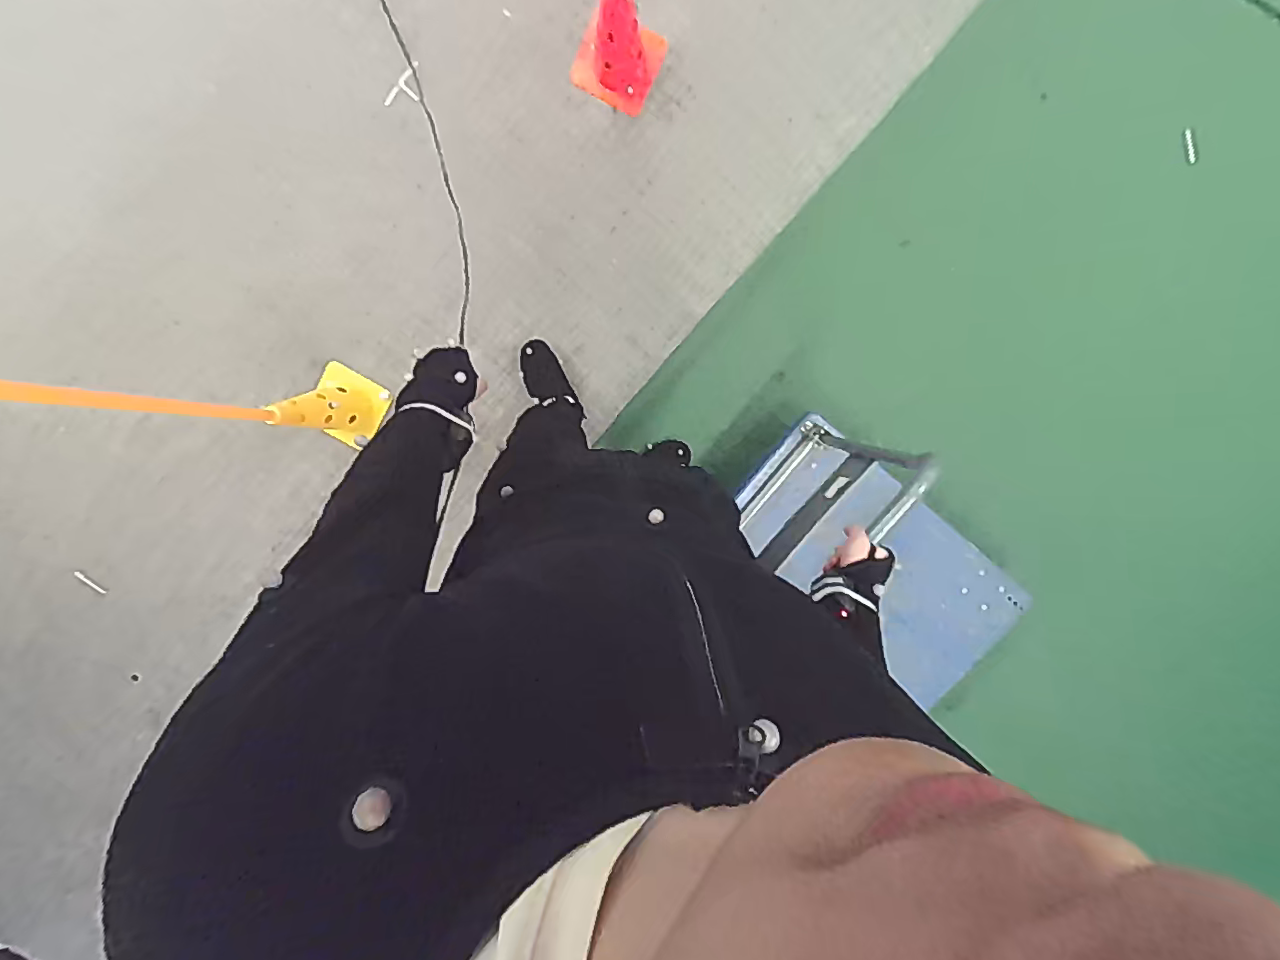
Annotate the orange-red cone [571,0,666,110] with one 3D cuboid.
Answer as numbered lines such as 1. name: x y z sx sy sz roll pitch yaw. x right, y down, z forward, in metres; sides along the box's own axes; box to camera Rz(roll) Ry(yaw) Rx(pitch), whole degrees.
1. orange-red cone: -0.051 -1.056 1.221 0.198 0.360 0.199 27 99 -7
